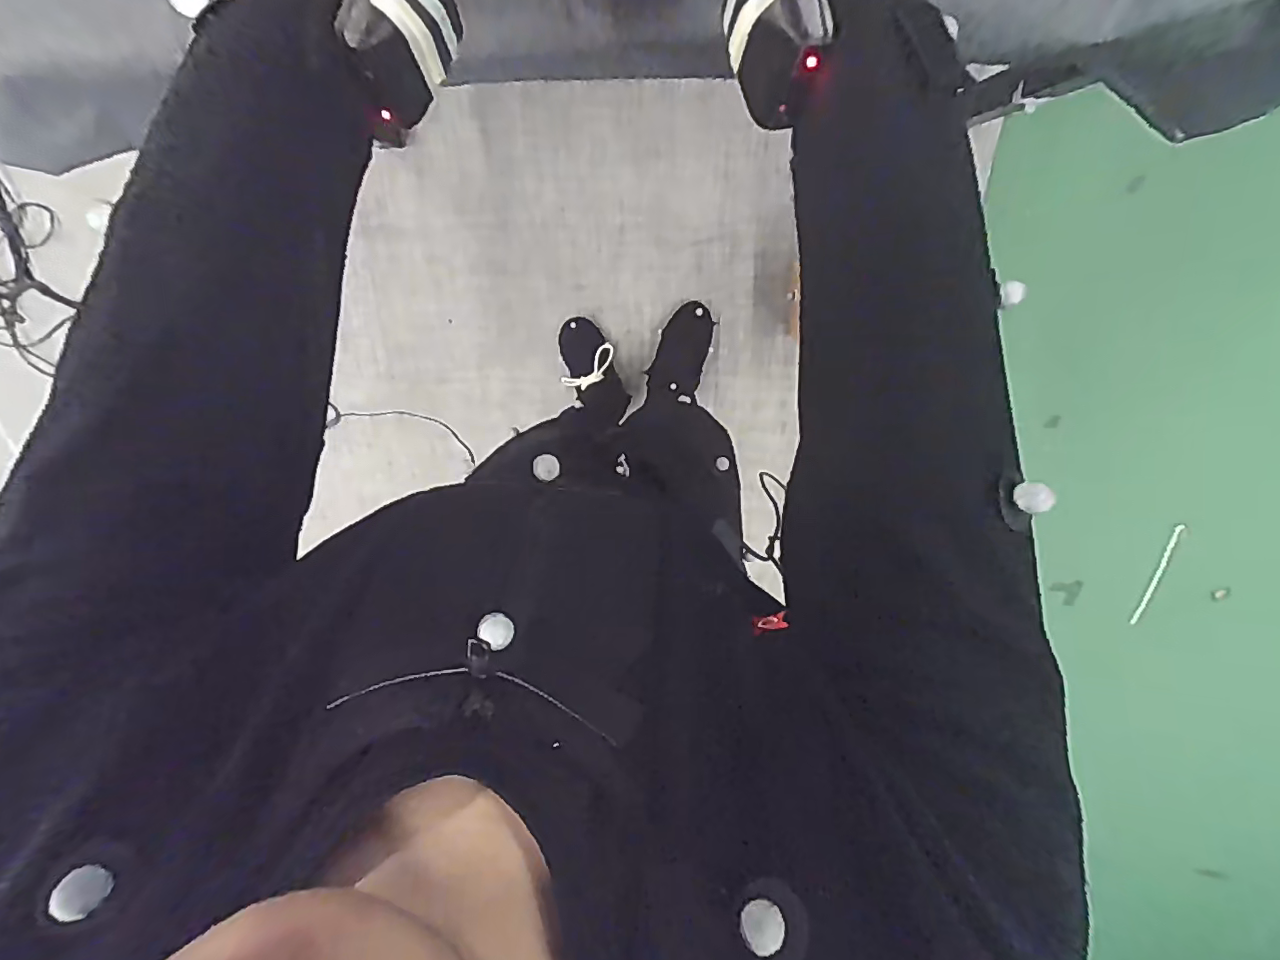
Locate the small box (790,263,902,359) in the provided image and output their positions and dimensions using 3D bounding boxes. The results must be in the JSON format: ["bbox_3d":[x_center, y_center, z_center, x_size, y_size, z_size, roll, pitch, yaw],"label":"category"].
[{"bbox_3d":[0.420,-0.356,1.126,0.179,0.176,0.168,-6,111,4],"label":"small box"}]
